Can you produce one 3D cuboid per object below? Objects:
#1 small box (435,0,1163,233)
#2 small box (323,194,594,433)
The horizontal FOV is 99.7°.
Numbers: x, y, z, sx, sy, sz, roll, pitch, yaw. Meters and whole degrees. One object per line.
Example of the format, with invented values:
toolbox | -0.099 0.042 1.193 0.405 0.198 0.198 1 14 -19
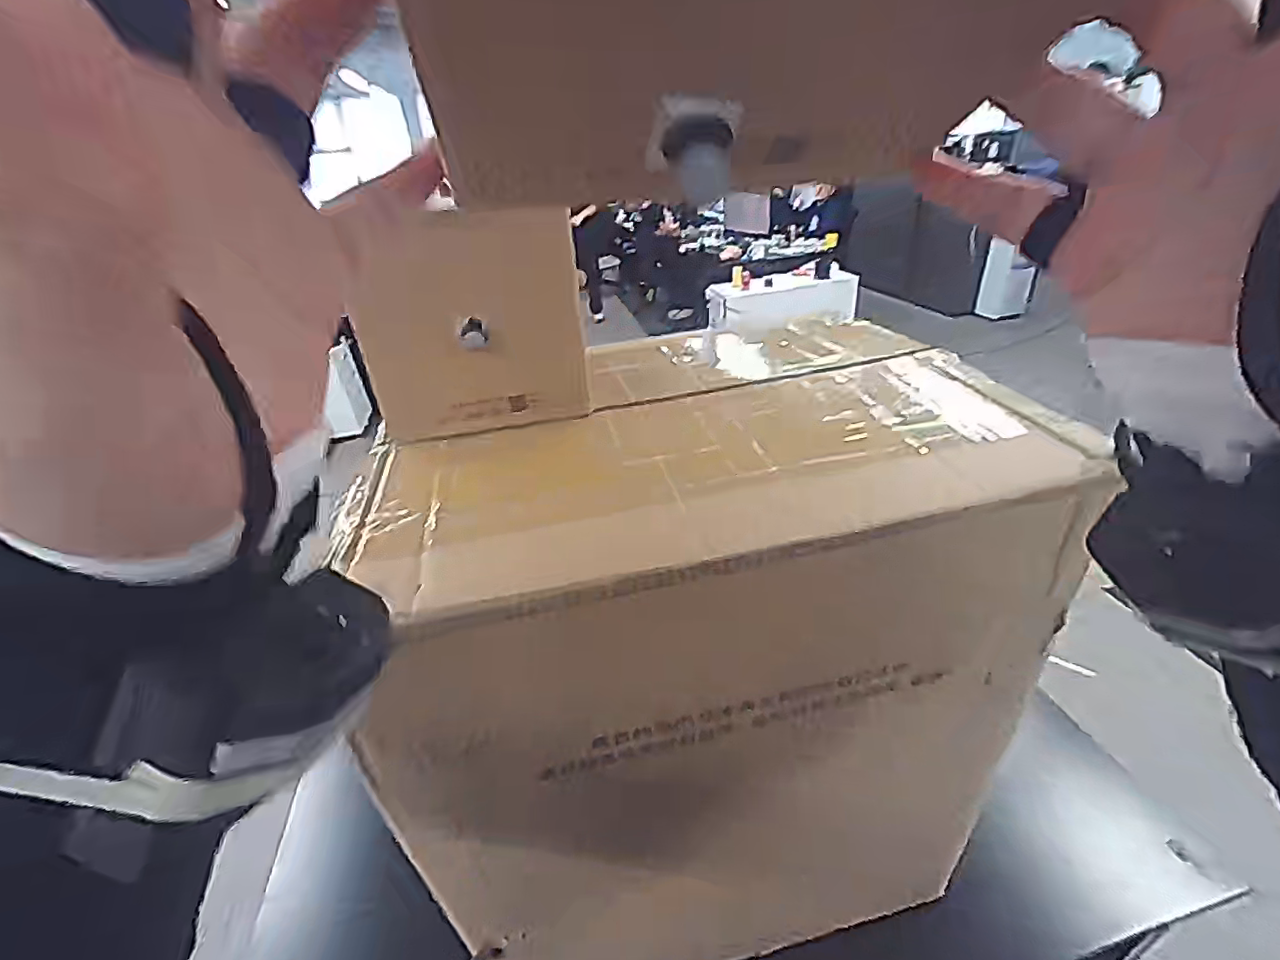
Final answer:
small box | 0.029 -0.179 0.108 0.168 0.179 0.176 -11 2 -9
small box | -0.139 -0.149 0.473 0.168 0.176 0.179 -10 31 -9
